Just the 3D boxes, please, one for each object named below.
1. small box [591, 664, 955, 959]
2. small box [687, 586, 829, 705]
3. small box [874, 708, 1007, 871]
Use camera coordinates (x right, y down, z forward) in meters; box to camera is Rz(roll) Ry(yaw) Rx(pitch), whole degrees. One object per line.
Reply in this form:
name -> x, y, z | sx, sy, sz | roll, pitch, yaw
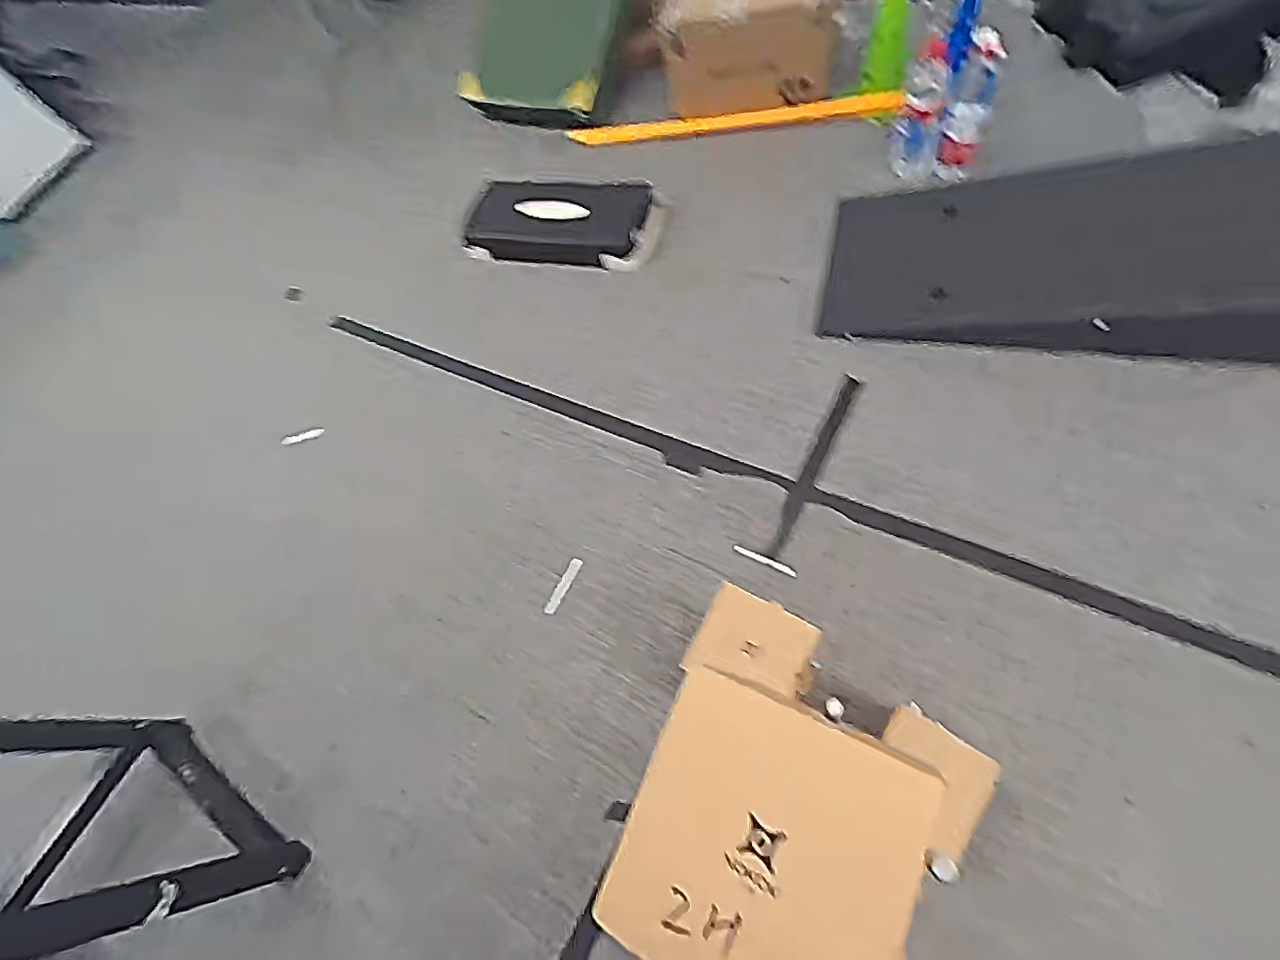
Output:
small box -> 0.101, 0.254, 0.379 | 0.168, 0.176, 0.179 | 17, 75, 32
small box -> 0.208, 0.310, 0.940 | 0.179, 0.176, 0.168 | 25, 74, 24
small box -> 0.496, 0.530, 0.951 | 0.168, 0.176, 0.179 | 30, 76, 24
